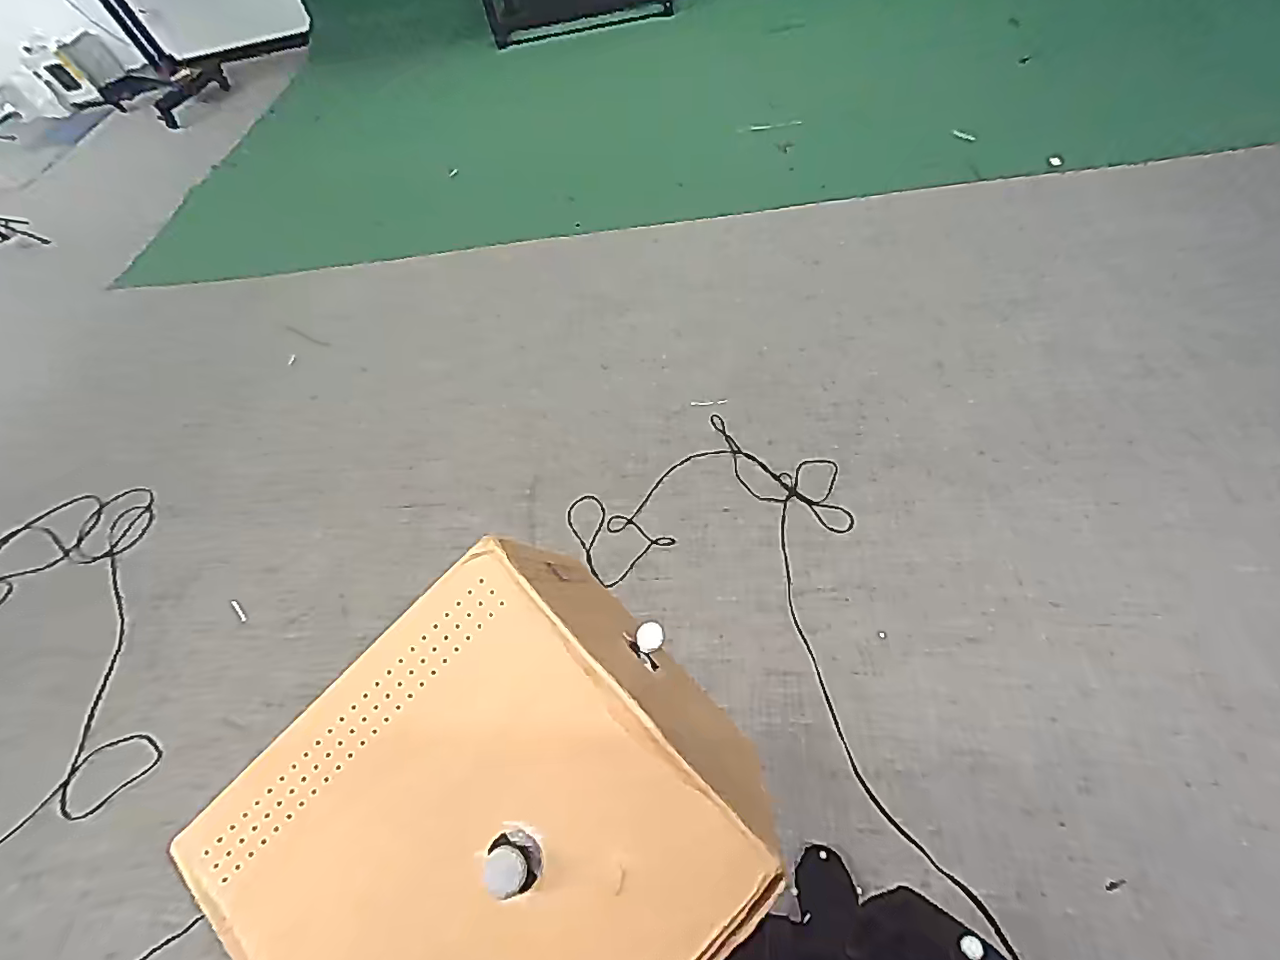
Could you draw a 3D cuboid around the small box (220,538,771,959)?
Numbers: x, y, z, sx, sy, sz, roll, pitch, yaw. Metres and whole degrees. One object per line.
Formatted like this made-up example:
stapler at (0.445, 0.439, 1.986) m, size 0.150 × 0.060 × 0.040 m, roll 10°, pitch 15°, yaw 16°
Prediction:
small box at (-0.060, 0.150, 0.288) m, size 0.176 × 0.168 × 0.179 m, roll 44°, pitch 87°, yaw 13°
